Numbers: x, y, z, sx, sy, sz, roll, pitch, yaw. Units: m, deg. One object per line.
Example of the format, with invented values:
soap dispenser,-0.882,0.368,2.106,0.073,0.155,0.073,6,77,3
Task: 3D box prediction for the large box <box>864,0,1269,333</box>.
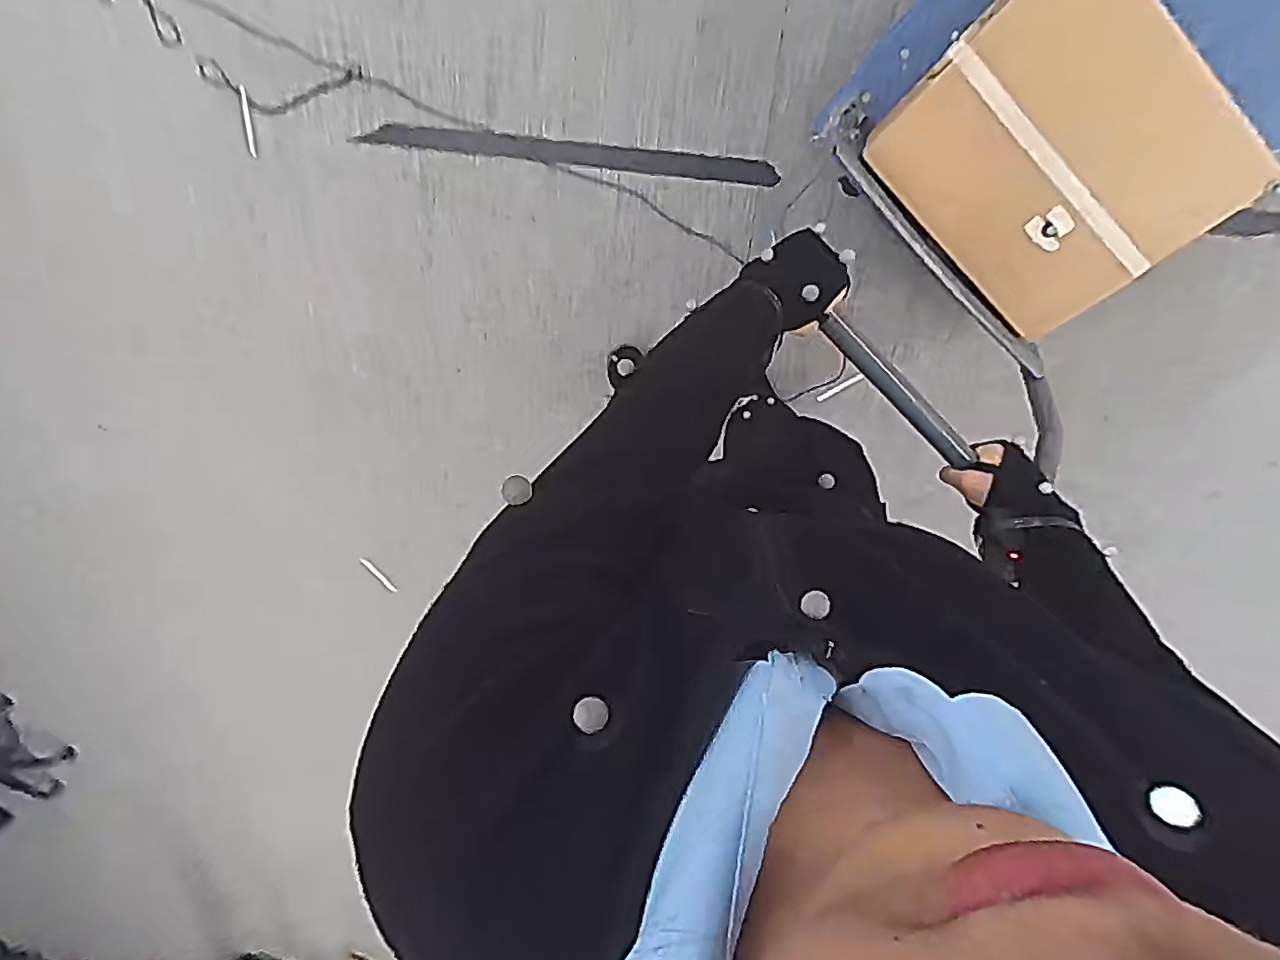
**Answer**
large box,0.617,-0.524,0.866,0.408,0.320,0.320,42,131,-10
